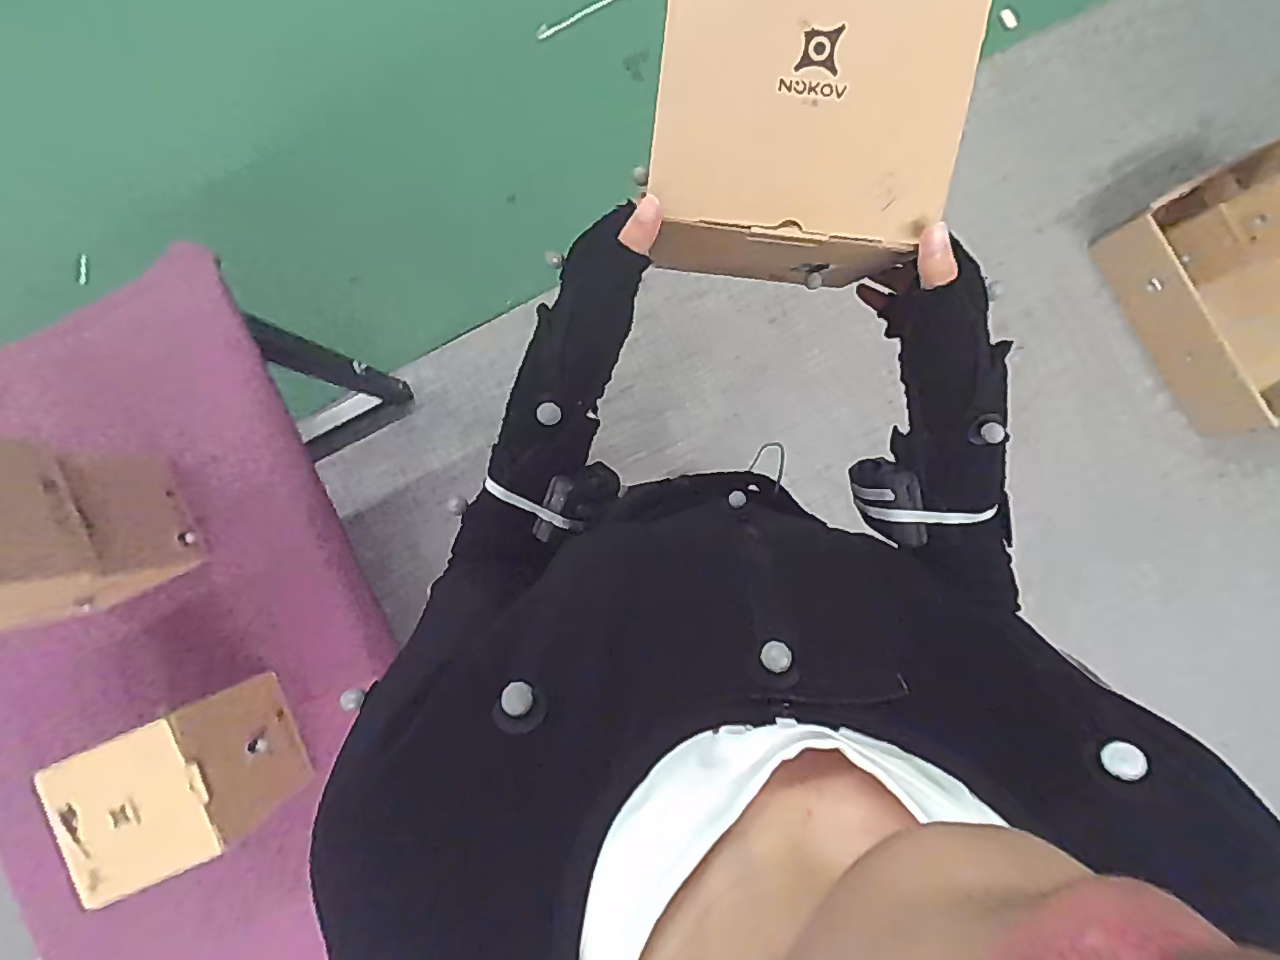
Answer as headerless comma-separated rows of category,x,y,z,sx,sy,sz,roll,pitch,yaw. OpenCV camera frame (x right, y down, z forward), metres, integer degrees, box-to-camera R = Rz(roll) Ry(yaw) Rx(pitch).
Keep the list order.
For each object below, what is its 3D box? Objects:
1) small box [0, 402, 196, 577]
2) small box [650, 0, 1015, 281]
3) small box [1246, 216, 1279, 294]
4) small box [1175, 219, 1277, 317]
small box,-0.716,0.015,0.687,0.179,0.176,0.168,-19,87,1
small box,0.102,-0.236,0.354,0.168,0.176,0.179,8,104,0
small box,1.503,-0.533,1.167,0.179,0.176,0.168,-26,89,0
small box,1.502,-0.530,1.330,0.179,0.176,0.168,-24,89,0
